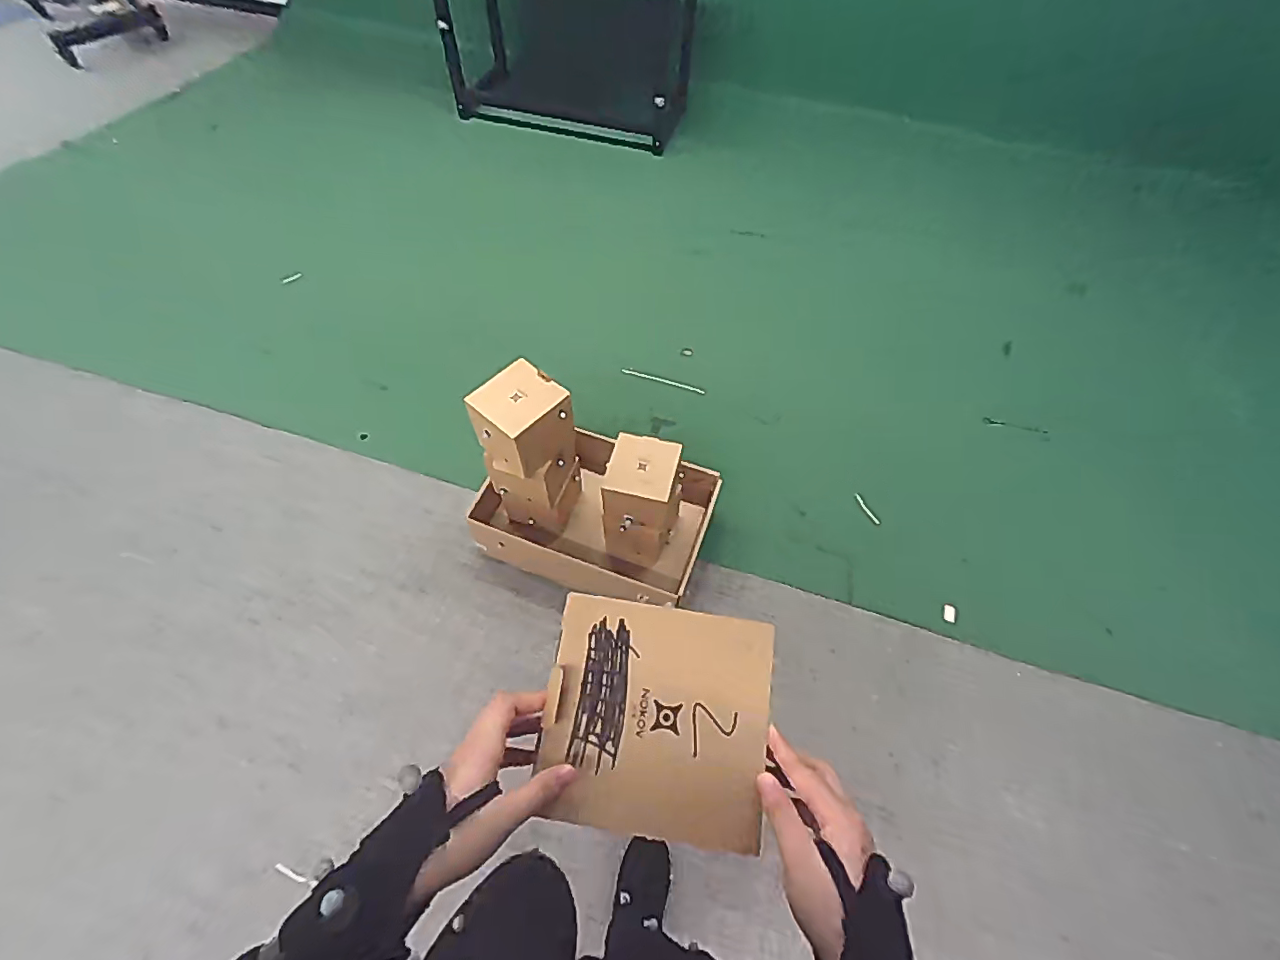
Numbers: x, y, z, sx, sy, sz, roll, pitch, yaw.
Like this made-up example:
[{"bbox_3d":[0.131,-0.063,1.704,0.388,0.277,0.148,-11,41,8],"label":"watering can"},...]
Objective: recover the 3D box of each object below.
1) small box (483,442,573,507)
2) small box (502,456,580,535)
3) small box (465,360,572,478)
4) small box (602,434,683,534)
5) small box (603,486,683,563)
[{"bbox_3d":[-0.279,-0.055,1.401,0.168,0.176,0.179,18,57,8],"label":"small box"},{"bbox_3d":[-0.276,0.027,1.543,0.168,0.176,0.179,16,58,8],"label":"small box"},{"bbox_3d":[-0.272,-0.137,1.261,0.168,0.176,0.179,37,62,19],"label":"small box"},{"bbox_3d":[0.007,0.012,1.373,0.168,0.176,0.179,12,59,8],"label":"small box"},{"bbox_3d":[0.006,0.100,1.511,0.168,0.176,0.179,21,59,12],"label":"small box"}]
